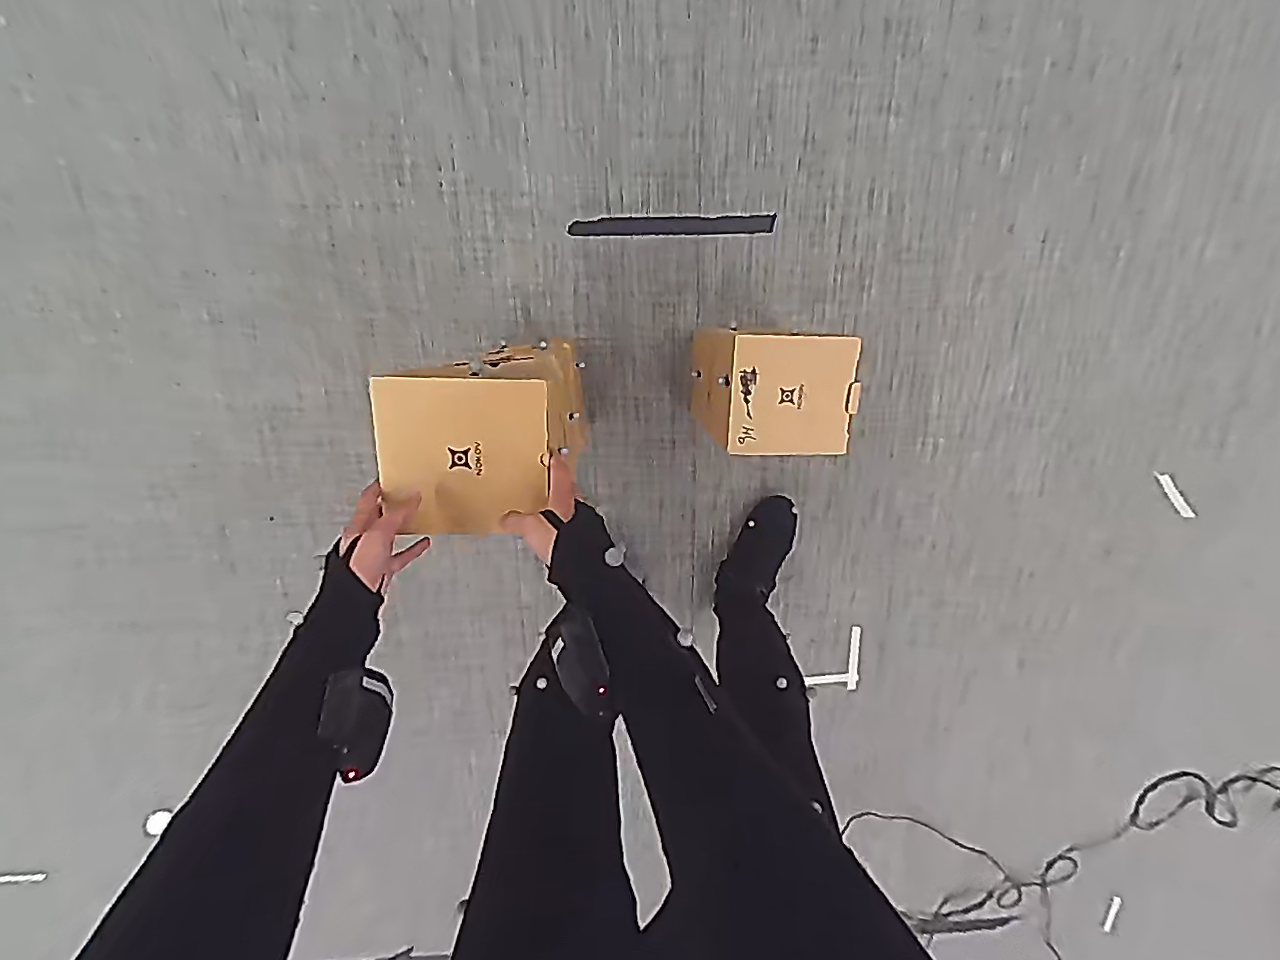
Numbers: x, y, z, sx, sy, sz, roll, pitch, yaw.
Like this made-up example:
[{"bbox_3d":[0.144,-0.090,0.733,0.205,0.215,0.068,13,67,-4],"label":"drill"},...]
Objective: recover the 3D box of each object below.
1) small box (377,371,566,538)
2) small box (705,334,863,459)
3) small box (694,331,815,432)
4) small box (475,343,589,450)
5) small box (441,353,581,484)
[{"bbox_3d":[-0.180,-0.038,0.630,0.179,0.176,0.168,0,105,-5],"label":"small box"},{"bbox_3d":[0.206,-0.132,0.822,0.179,0.176,0.168,1,107,-5],"label":"small box"},{"bbox_3d":[0.196,-0.180,0.979,0.179,0.176,0.168,-1,108,-4],"label":"small box"},{"bbox_3d":[-0.183,-0.148,0.966,0.168,0.176,0.179,-7,108,-1],"label":"small box"},{"bbox_3d":[-0.182,-0.095,0.811,0.168,0.176,0.179,-5,108,-1],"label":"small box"}]
